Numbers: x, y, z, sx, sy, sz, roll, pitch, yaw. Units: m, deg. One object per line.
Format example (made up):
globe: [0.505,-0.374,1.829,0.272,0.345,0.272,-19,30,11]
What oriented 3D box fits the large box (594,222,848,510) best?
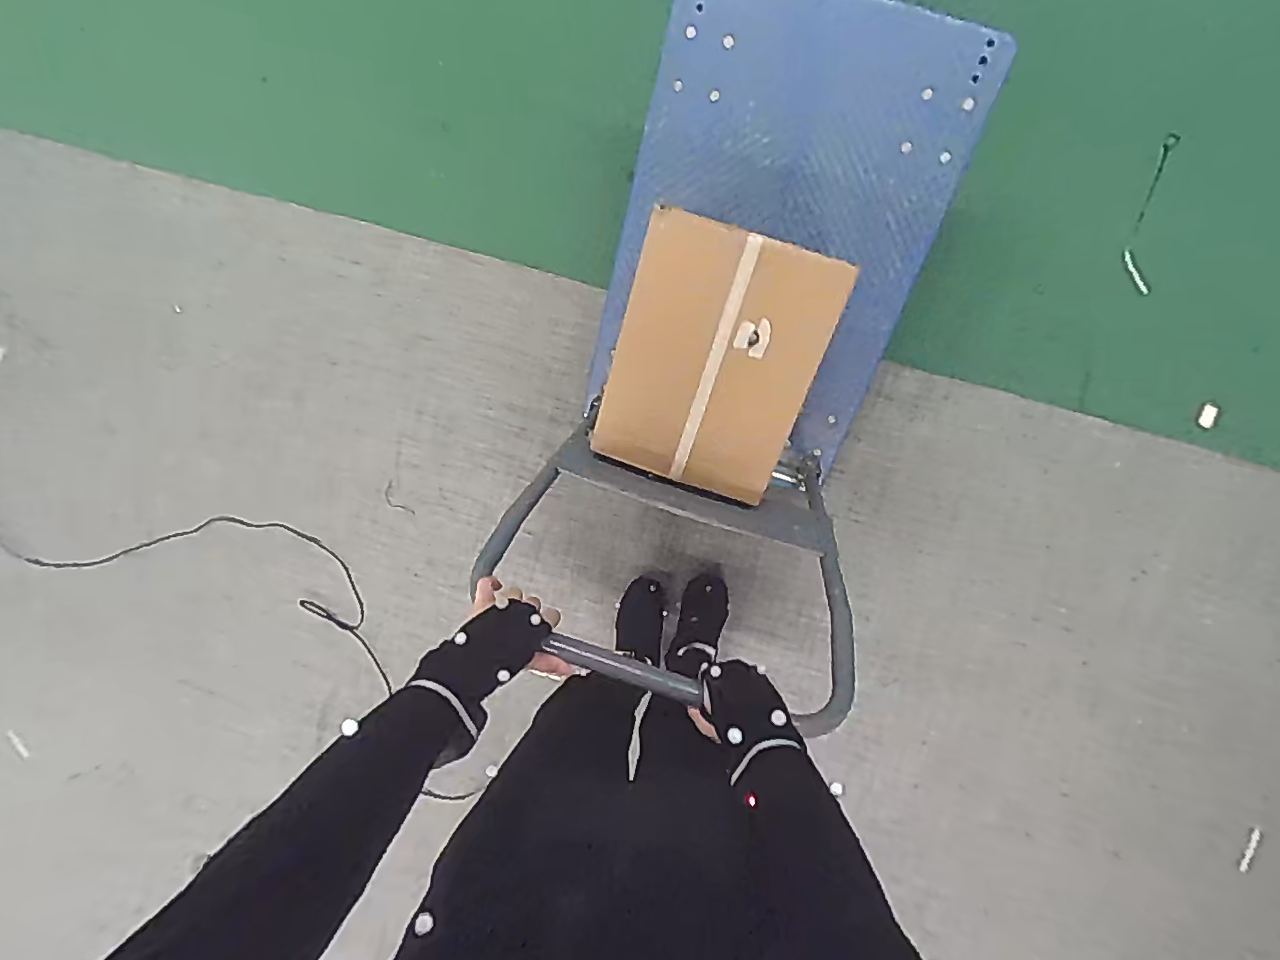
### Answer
large box: [0.139,-0.217,1.015,0.320,0.320,0.408,19,113,3]
